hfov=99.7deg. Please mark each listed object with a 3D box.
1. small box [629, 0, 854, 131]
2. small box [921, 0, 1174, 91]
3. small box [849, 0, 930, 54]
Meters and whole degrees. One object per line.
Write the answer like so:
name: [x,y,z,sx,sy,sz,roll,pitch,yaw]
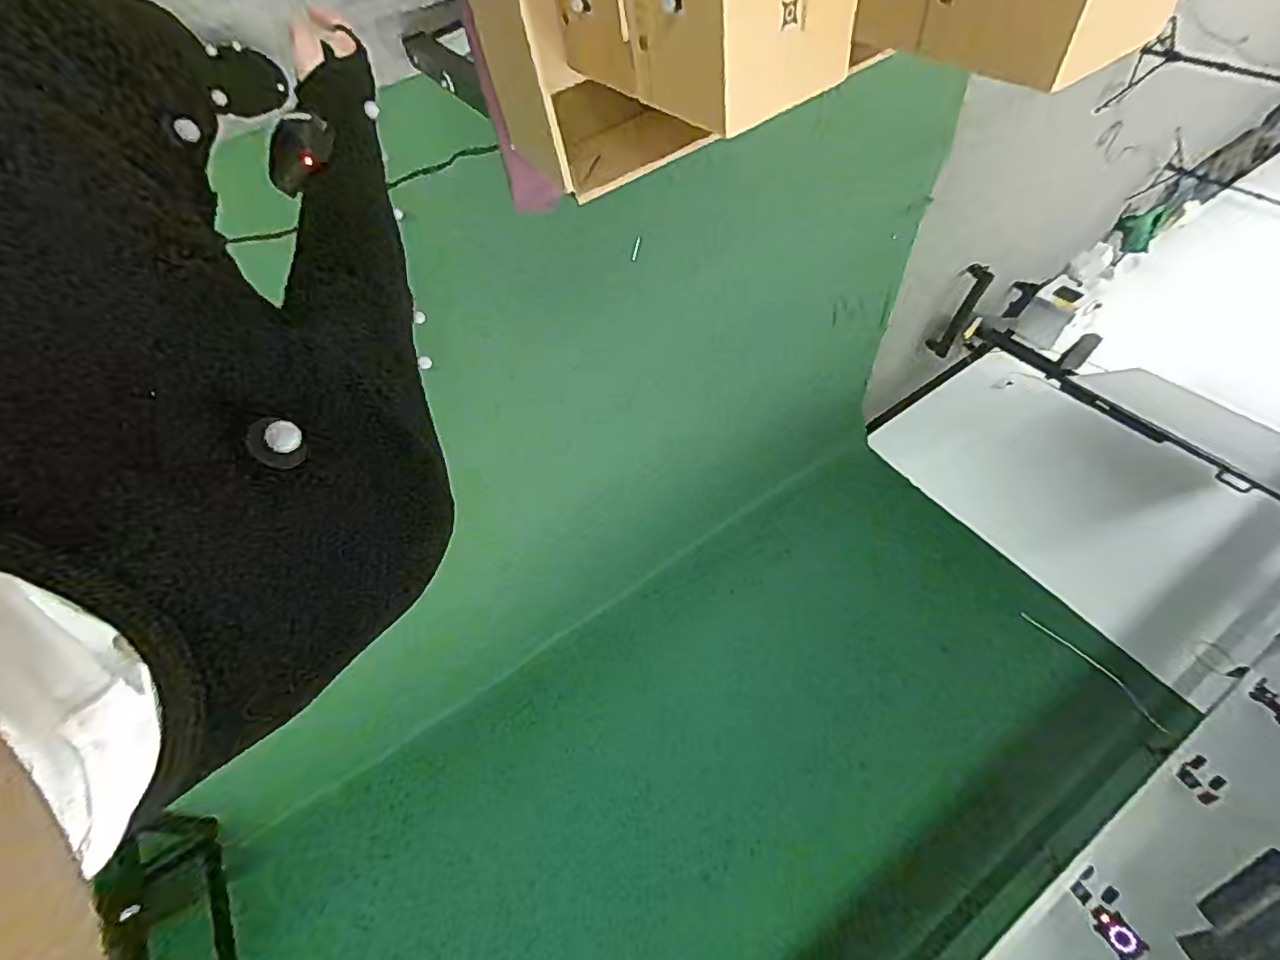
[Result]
small box: [0.097,-0.497,0.555,0.179,0.176,0.168,-34,146,-13]
small box: [0.420,-0.526,0.535,0.179,0.176,0.168,-31,147,-12]
small box: [0.335,-0.637,0.624,0.179,0.176,0.168,-31,146,-11]
